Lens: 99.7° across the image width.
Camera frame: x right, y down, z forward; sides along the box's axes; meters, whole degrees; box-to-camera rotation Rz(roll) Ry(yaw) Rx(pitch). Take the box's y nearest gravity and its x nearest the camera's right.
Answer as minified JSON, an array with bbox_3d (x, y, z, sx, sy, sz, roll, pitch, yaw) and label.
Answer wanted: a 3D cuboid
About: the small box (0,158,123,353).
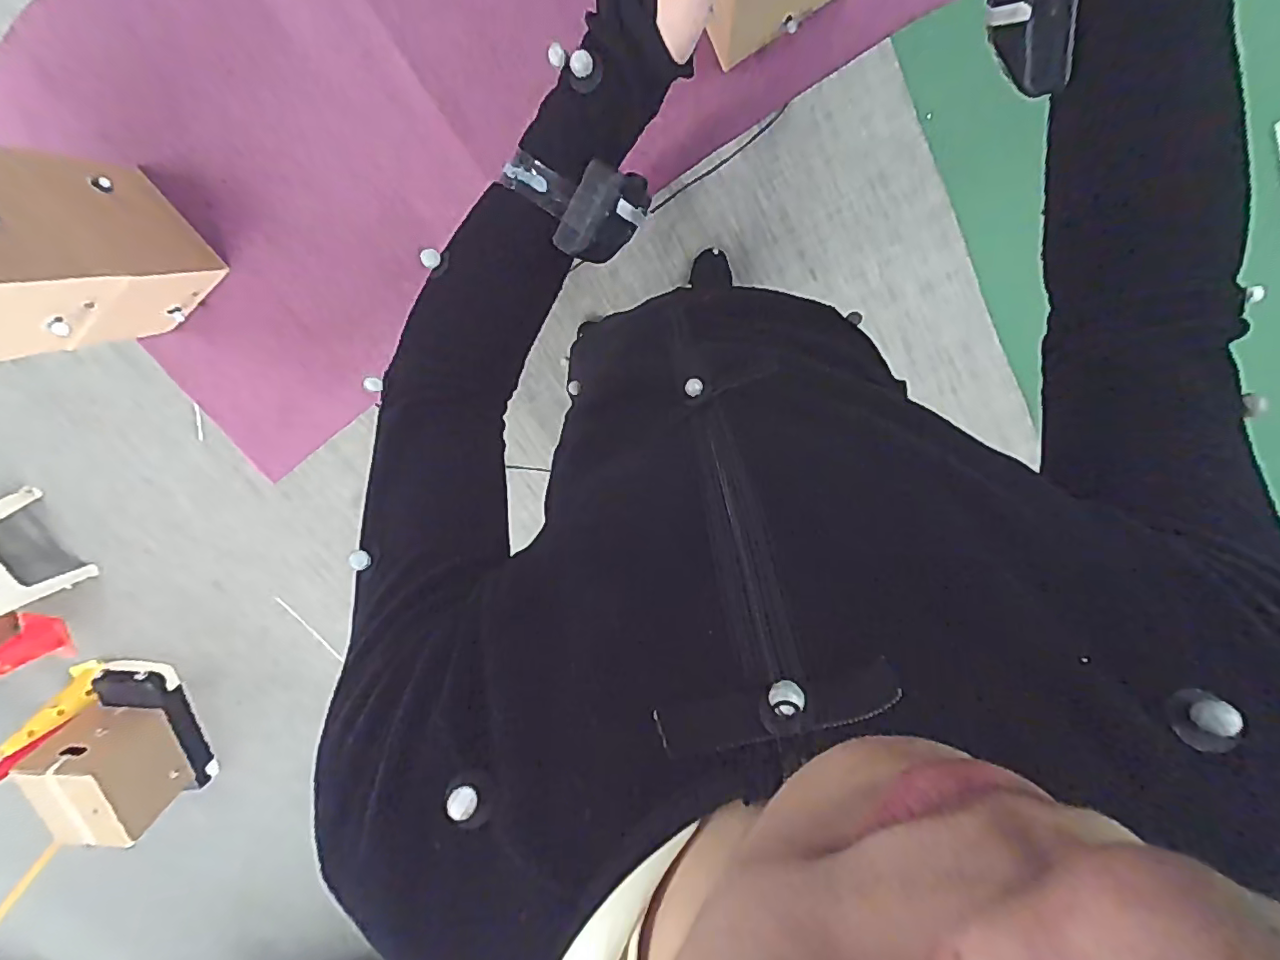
[{"bbox_3d":[-0.763,-0.251,0.605,0.168,0.176,0.179,-31,108,18],"label":"small box"}]

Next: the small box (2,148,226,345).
[{"bbox_3d":[-0.749,-0.317,0.754,0.168,0.176,0.179,-31,108,18],"label":"small box"}]
